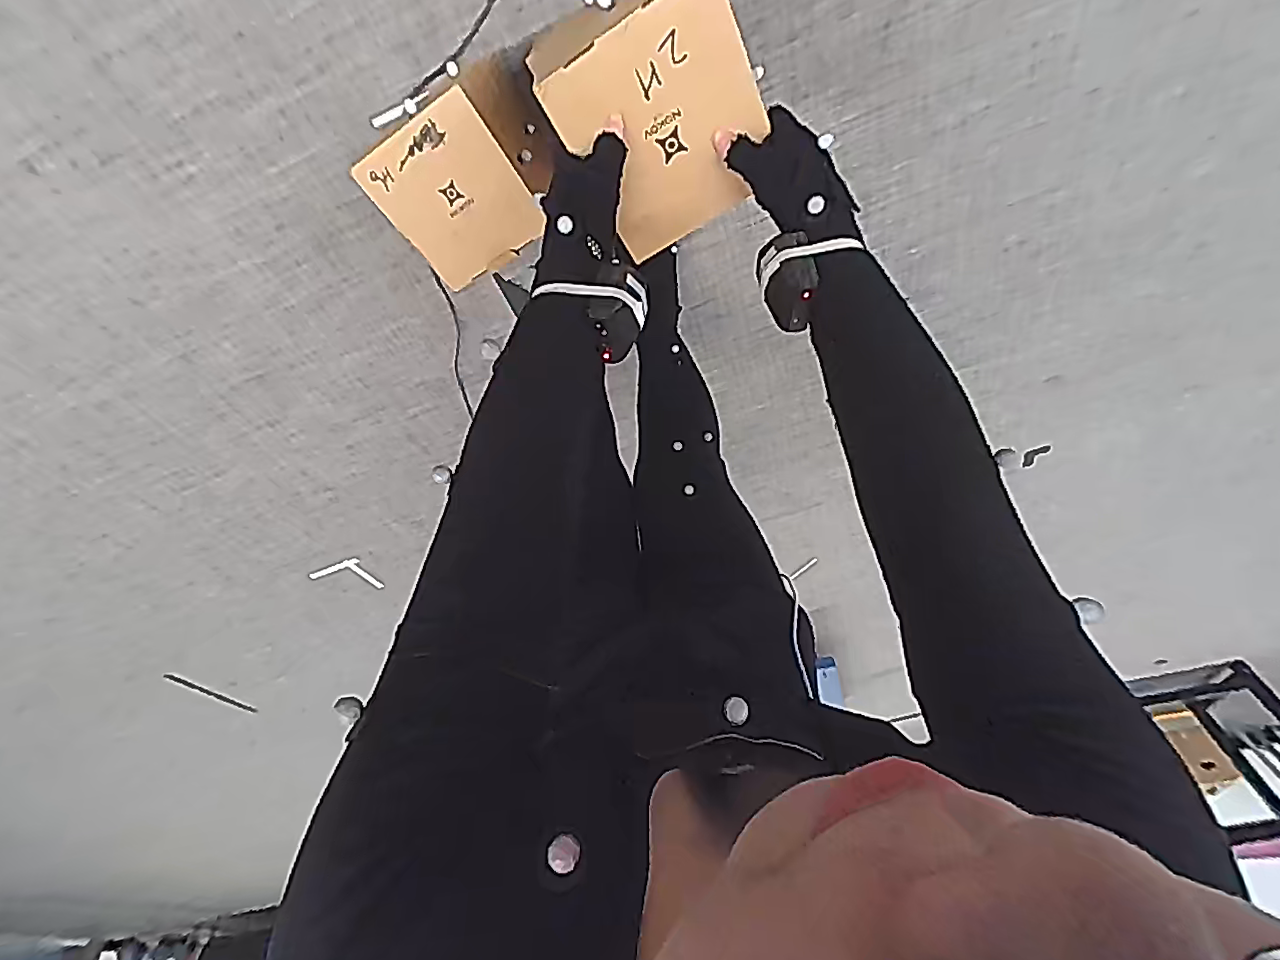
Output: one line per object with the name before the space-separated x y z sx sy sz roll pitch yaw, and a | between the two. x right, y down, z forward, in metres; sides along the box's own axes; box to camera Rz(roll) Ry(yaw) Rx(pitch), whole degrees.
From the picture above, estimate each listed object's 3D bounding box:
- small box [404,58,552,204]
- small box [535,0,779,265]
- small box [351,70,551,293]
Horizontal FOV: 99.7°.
small box | -0.244 -0.500 0.827 0.168 0.176 0.179 -22 133 13
small box | 0.016 -0.359 0.536 0.168 0.176 0.179 -25 132 16
small box | -0.229 -0.389 0.707 0.168 0.176 0.179 -25 133 15
